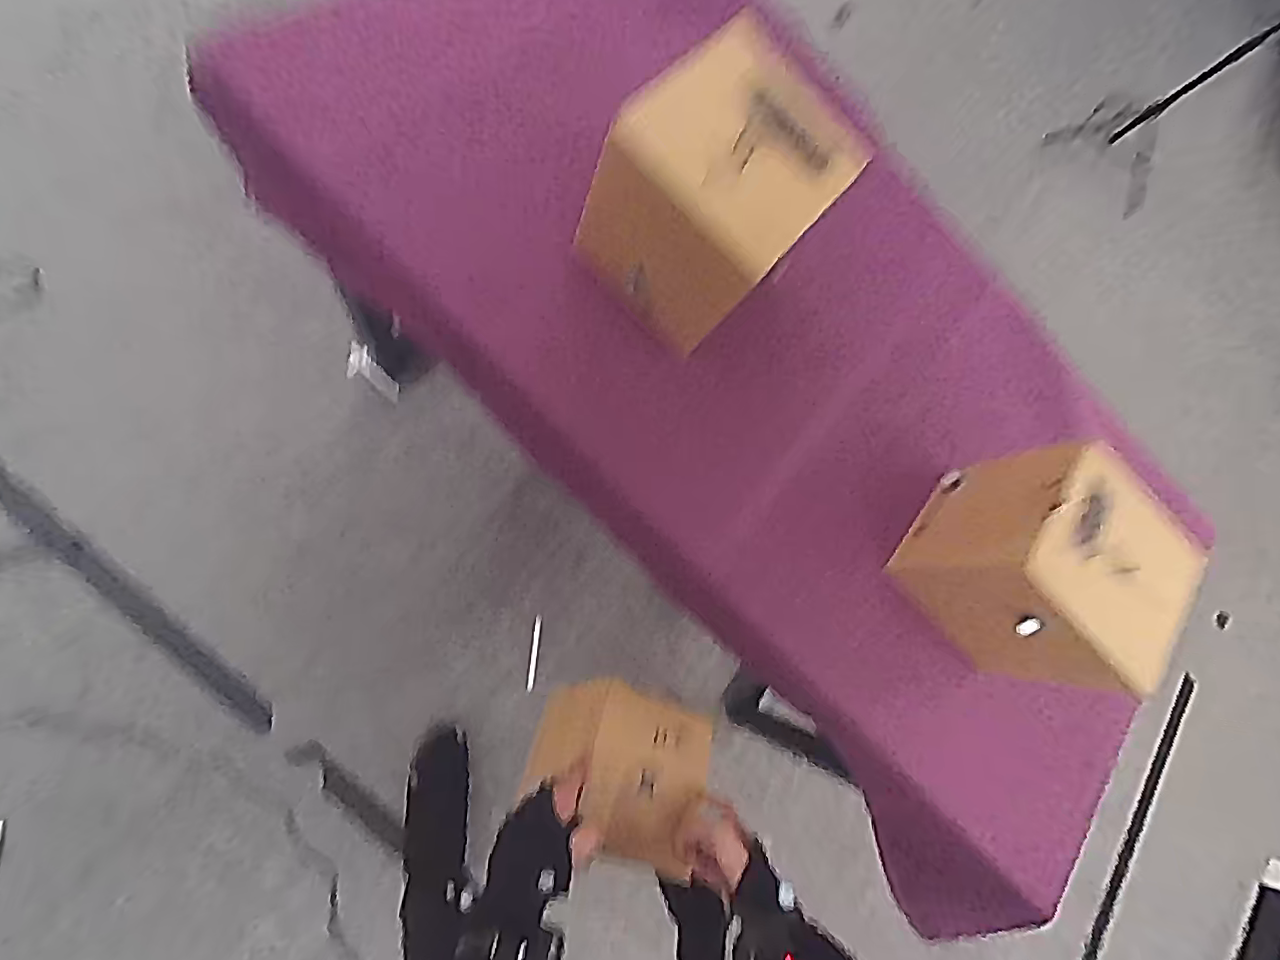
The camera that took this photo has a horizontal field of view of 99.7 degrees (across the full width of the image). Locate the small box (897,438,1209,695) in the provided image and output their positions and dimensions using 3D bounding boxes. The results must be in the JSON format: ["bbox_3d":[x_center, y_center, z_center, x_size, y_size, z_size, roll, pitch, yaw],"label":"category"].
[{"bbox_3d":[0.411,0.088,0.560,0.179,0.176,0.168,45,71,-6],"label":"small box"}]
